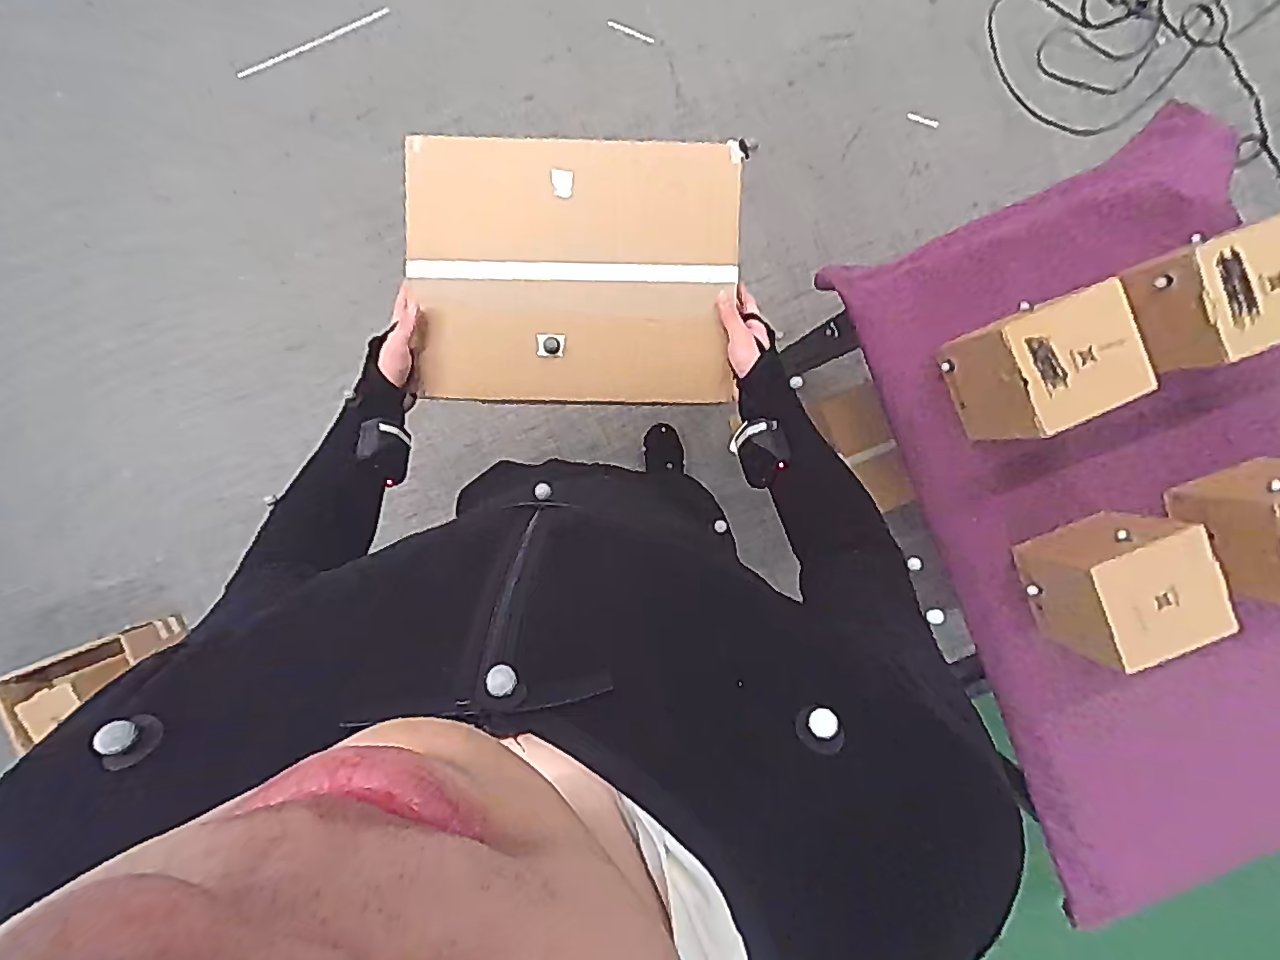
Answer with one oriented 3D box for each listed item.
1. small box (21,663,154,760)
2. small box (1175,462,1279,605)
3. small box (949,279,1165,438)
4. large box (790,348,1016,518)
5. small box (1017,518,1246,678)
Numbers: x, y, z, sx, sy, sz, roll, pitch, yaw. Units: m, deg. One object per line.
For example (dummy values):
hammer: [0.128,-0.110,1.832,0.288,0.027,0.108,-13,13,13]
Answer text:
small box: [-1.559,0.646,1.538,0.168,0.176,0.179,-26,94,1]
small box: [0.997,0.076,0.825,0.179,0.176,0.168,-20,94,2]
small box: [0.598,-0.167,0.806,0.179,0.176,0.168,-24,94,0]
large box: [0.686,-0.126,1.474,0.408,0.320,0.320,-23,94,0]
small box: [0.737,0.167,0.829,0.179,0.176,0.168,-21,93,1]
